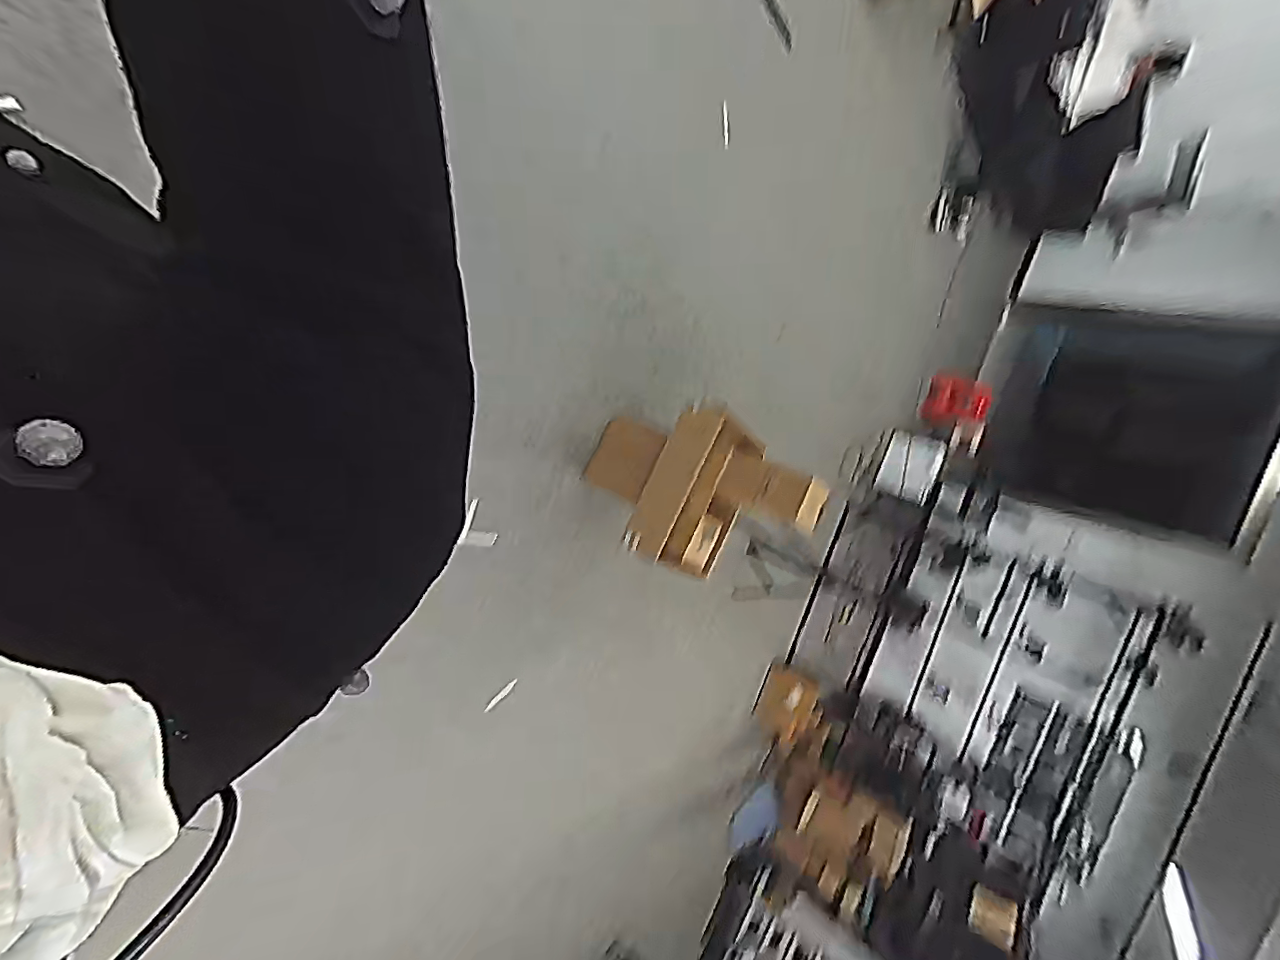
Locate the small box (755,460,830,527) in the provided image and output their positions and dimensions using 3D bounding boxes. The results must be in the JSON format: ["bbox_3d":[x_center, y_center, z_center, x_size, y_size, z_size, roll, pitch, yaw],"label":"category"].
[{"bbox_3d":[0.530,0.046,1.878,0.179,0.176,0.168,25,88,-52],"label":"small box"}]

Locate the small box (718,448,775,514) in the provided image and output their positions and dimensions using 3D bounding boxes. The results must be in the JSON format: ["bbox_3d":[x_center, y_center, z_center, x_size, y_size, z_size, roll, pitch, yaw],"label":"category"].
[{"bbox_3d":[0.412,0.000,1.983,0.168,0.176,0.179,29,87,-50],"label":"small box"}]

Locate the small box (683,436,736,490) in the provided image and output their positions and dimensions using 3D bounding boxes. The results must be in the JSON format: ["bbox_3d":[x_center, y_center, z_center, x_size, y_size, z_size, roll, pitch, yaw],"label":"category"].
[{"bbox_3d":[0.293,-0.057,2.081,0.179,0.176,0.168,26,89,-51],"label":"small box"}]
